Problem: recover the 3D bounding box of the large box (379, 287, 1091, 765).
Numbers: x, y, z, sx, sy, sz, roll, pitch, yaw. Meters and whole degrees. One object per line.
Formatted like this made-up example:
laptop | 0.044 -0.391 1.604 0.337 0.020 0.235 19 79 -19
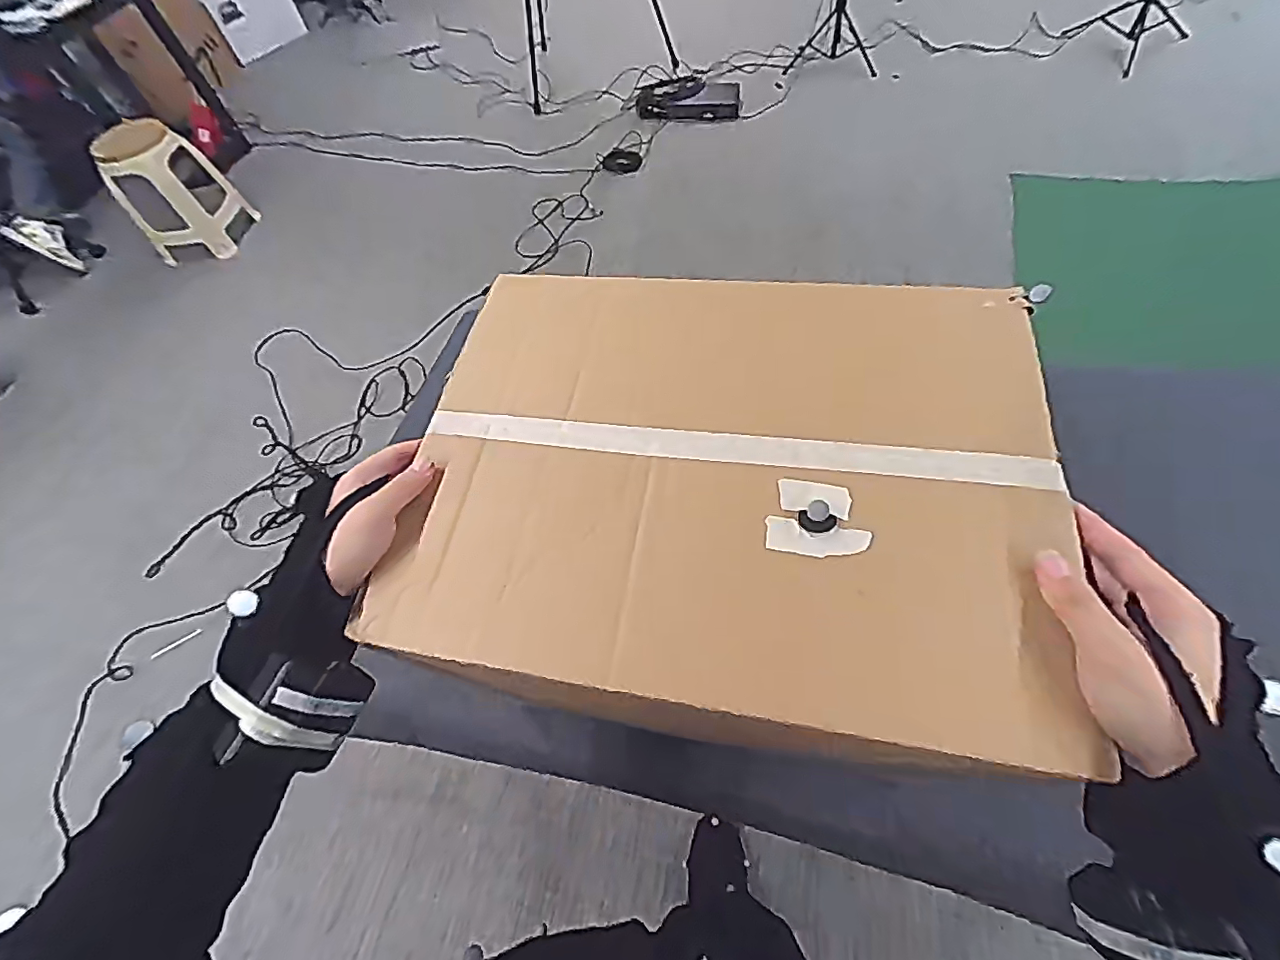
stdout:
large box | 0.070 0.053 0.498 0.408 0.320 0.320 6 63 10
